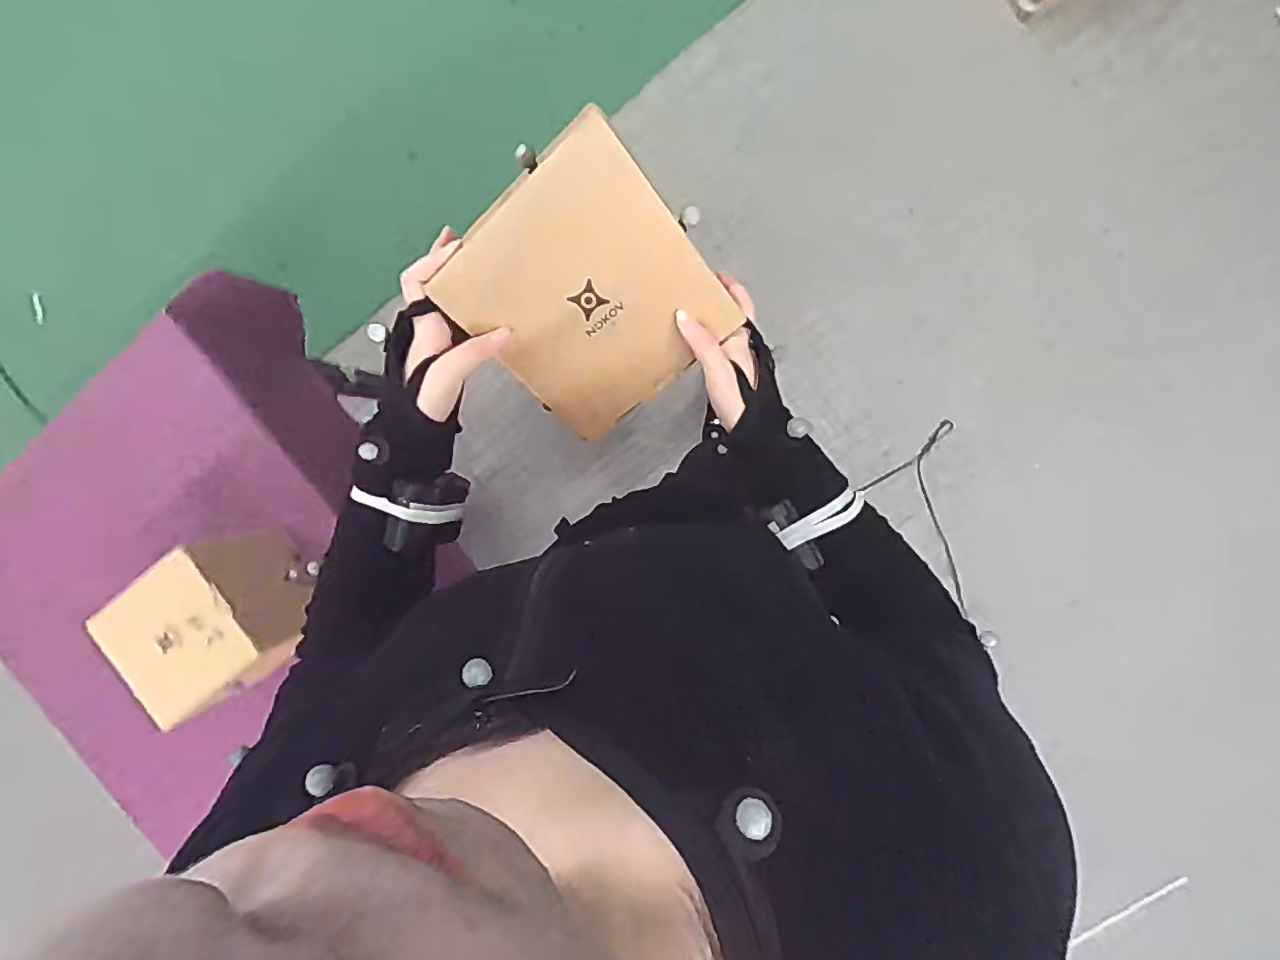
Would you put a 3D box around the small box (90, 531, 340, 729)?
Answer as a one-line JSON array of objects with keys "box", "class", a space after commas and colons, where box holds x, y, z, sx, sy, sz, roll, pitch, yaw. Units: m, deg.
[{"box": [-0.565, 0.193, 0.743, 0.179, 0.176, 0.168, -37, 91, 7], "class": "small box"}]
